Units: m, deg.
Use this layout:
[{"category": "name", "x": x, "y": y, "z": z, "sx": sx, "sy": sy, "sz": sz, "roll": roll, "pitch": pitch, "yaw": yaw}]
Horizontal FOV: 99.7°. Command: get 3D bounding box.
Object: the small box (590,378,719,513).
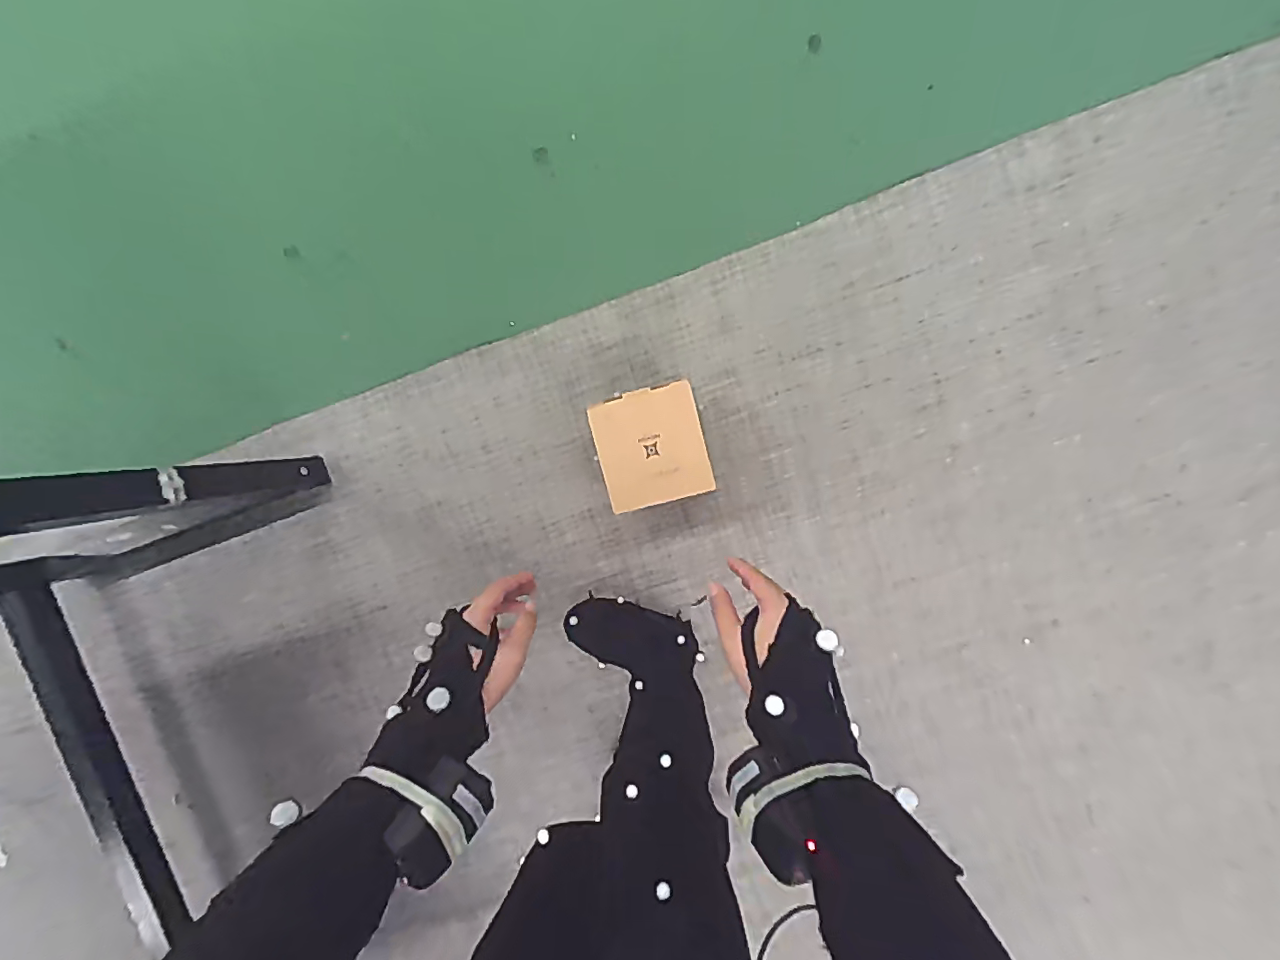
[{"category": "small box", "x": 0.026, "y": -0.057, "z": 0.901, "sx": 0.168, "sy": 0.176, "sz": 0.179, "roll": -15, "pitch": 95, "yaw": 6}]
